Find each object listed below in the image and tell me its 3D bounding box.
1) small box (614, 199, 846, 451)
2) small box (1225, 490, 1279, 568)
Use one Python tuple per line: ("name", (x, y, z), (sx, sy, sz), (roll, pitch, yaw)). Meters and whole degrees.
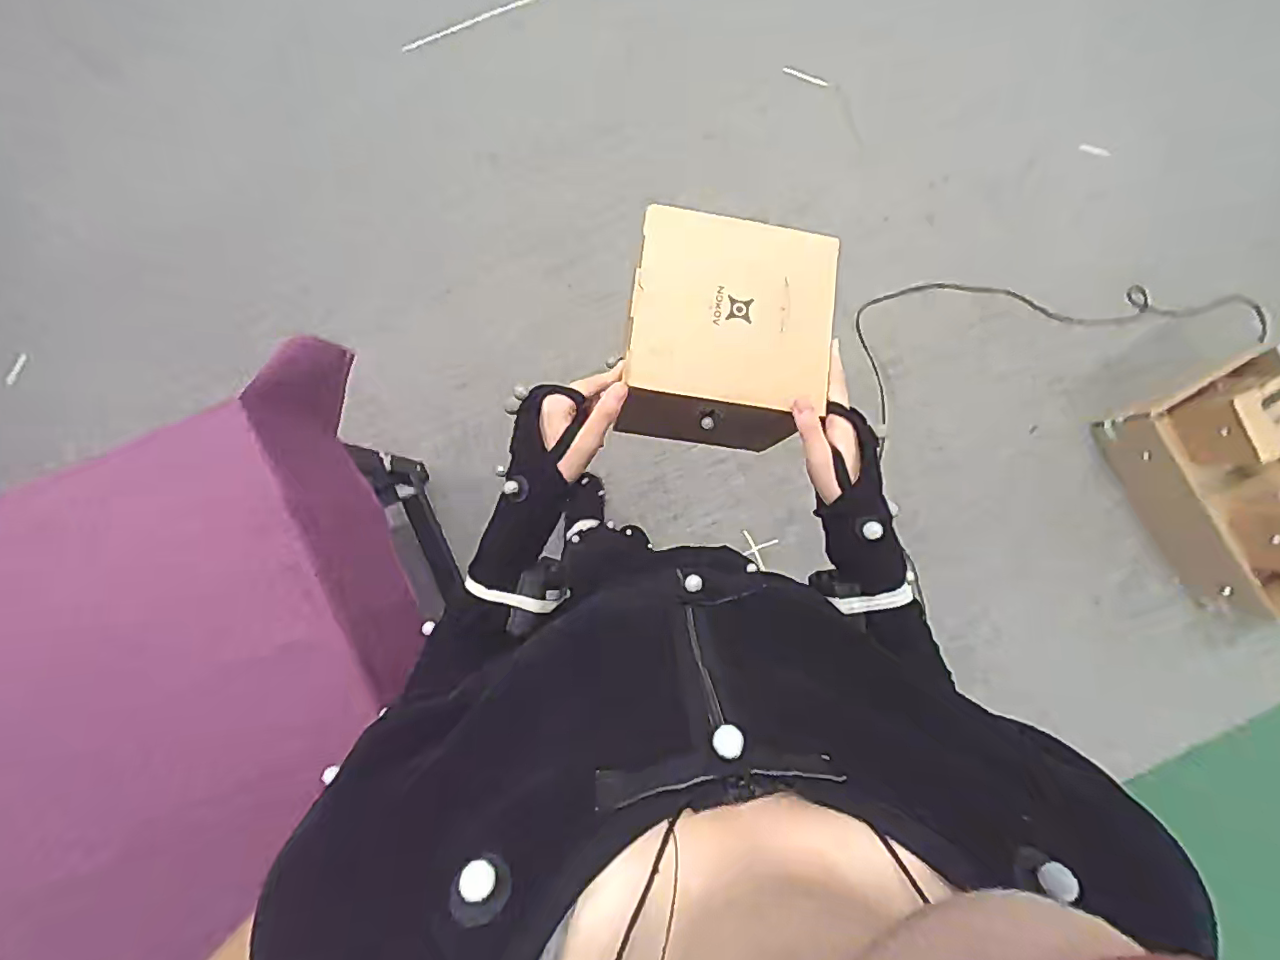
("small box", (0.074, -0.134, 0.532), (0.179, 0.176, 0.168), (10, 81, -6))
("small box", (1.718, 0.126, 1.416), (0.168, 0.176, 0.179), (-26, 87, -2))
